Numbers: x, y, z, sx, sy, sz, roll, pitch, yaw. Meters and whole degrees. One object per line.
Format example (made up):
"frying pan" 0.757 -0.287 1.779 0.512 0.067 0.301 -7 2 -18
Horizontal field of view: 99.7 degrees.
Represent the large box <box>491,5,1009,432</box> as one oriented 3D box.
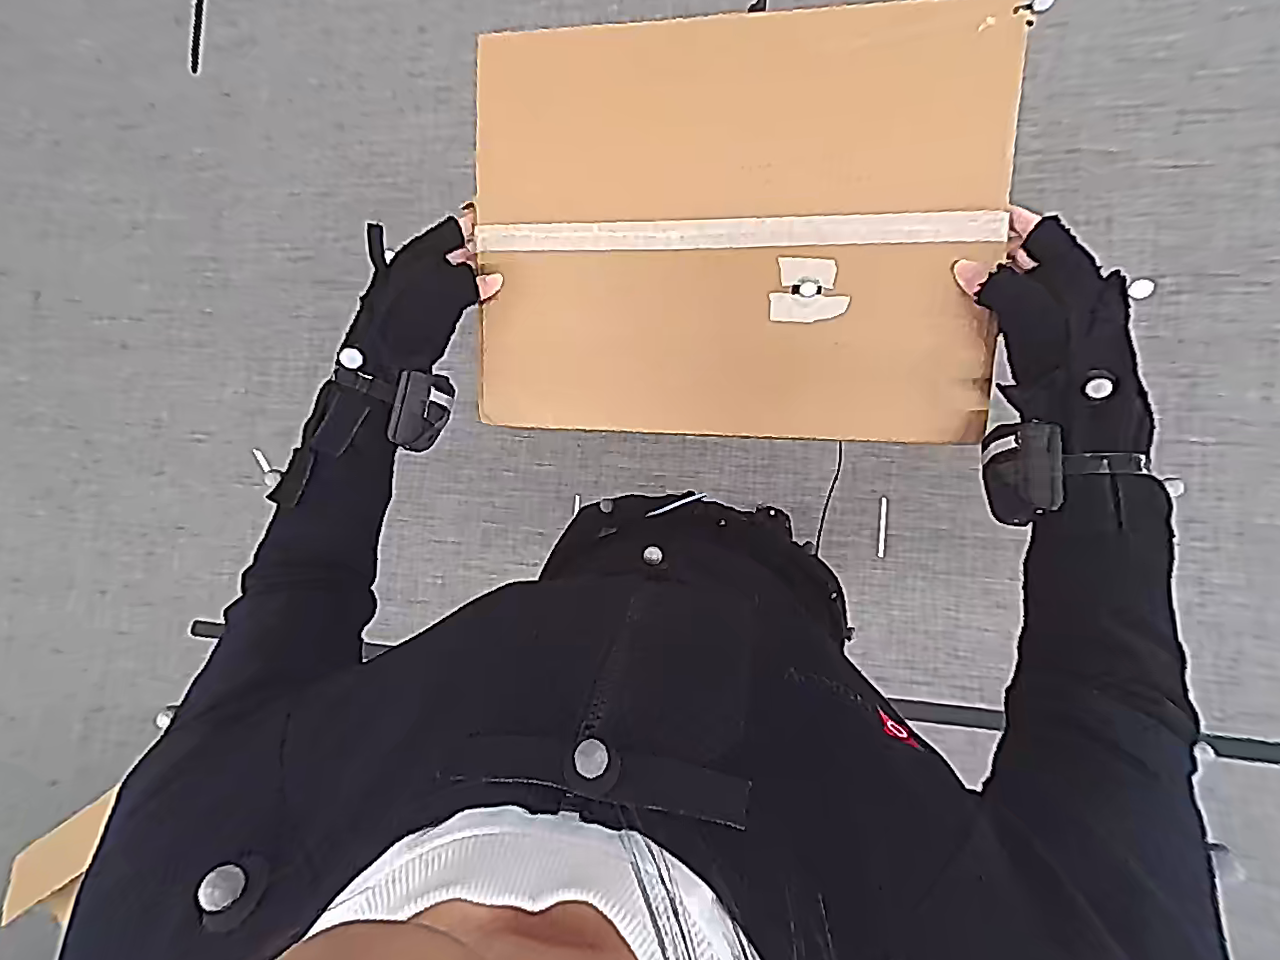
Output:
"large box" 0.090 -0.214 0.582 0.408 0.320 0.320 3 98 9
